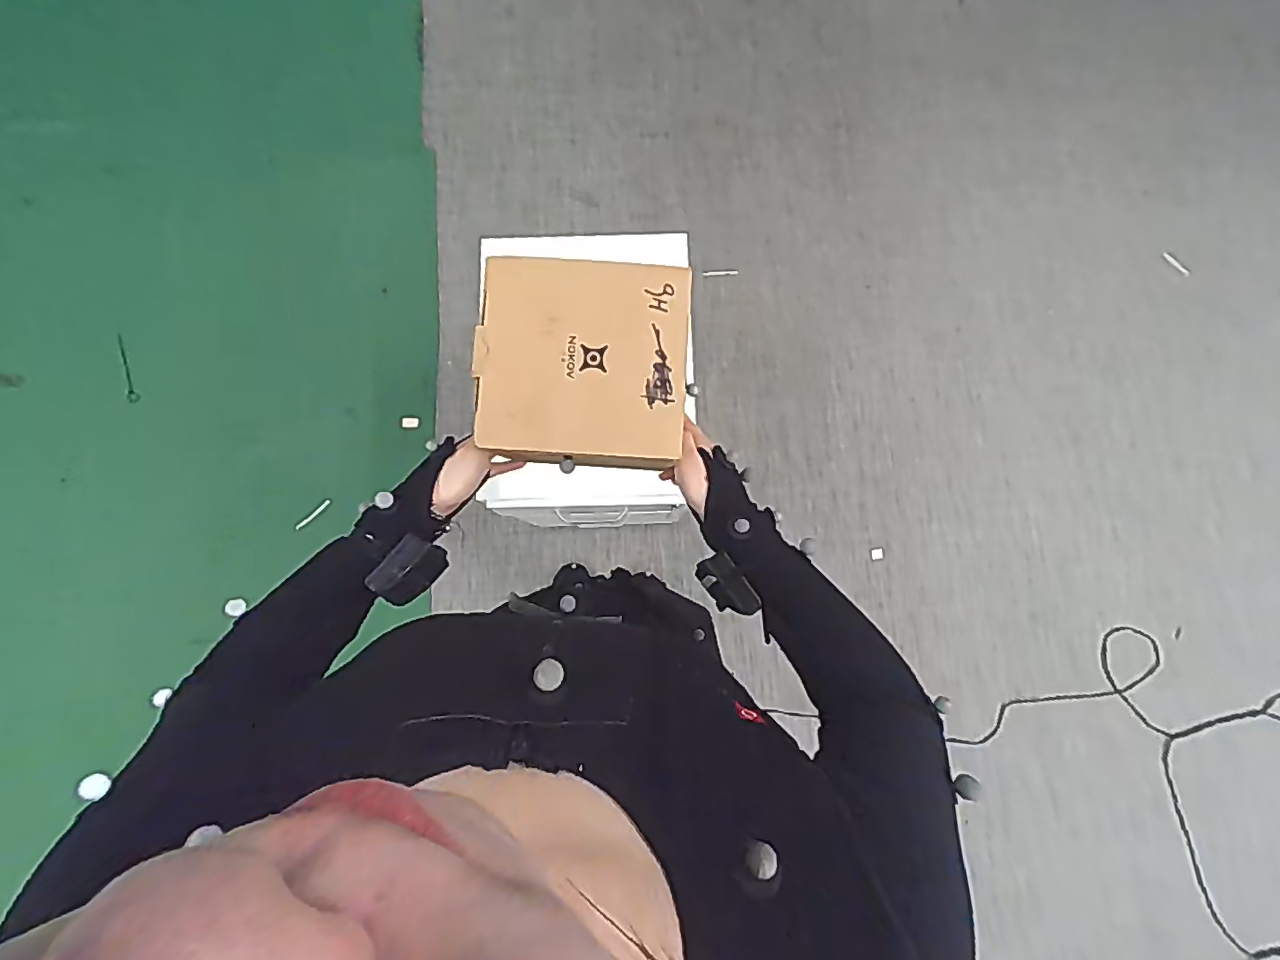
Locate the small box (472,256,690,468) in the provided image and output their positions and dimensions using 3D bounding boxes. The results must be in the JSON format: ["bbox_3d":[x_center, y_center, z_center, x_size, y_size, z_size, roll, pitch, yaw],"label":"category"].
[{"bbox_3d":[-0.049,-0.101,0.534,0.179,0.176,0.168,4,88,0],"label":"small box"}]
